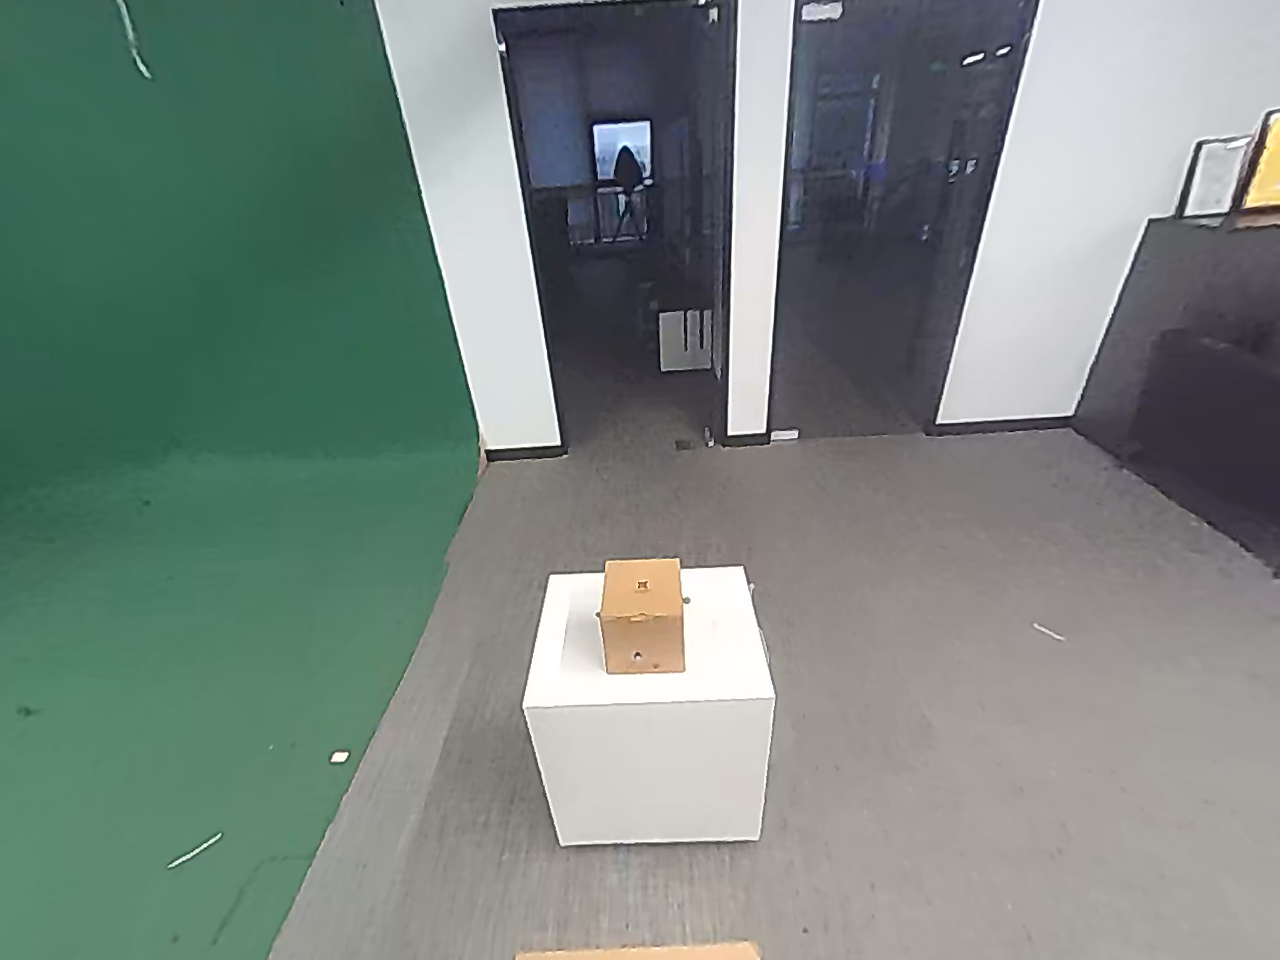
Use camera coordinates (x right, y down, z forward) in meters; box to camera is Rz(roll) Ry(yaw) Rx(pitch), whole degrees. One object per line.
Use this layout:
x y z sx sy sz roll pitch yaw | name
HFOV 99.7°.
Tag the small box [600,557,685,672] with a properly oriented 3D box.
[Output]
0.009 0.285 1.156 0.168 0.176 0.179 -3 30 2 | small box
